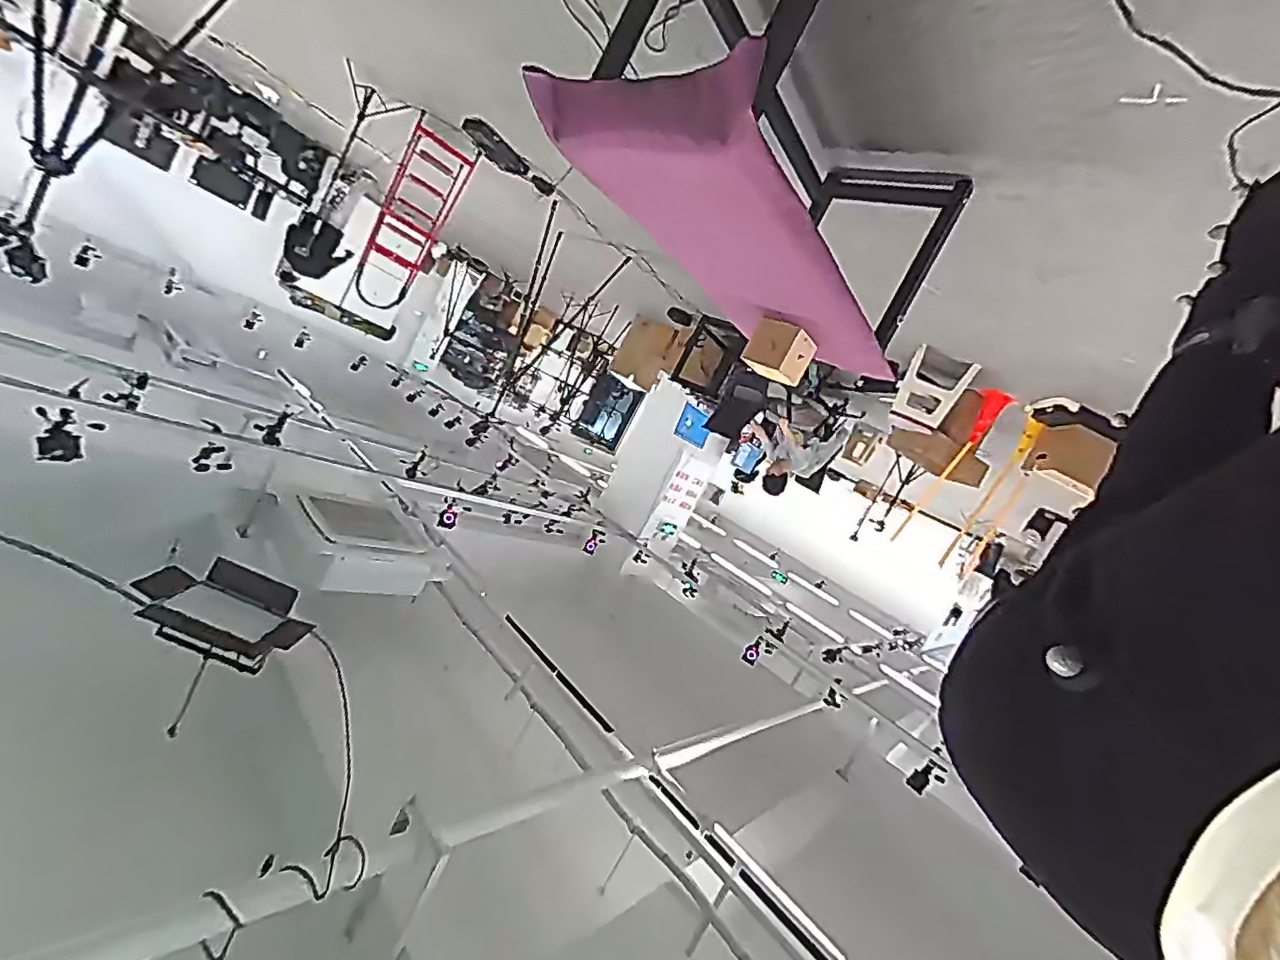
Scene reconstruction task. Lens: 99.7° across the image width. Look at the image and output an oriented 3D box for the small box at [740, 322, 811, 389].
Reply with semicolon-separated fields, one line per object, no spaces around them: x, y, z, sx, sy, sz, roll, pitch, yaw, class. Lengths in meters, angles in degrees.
0.505;-0.459;1.982;0.179;0.176;0.168;31;-175;39;small box
